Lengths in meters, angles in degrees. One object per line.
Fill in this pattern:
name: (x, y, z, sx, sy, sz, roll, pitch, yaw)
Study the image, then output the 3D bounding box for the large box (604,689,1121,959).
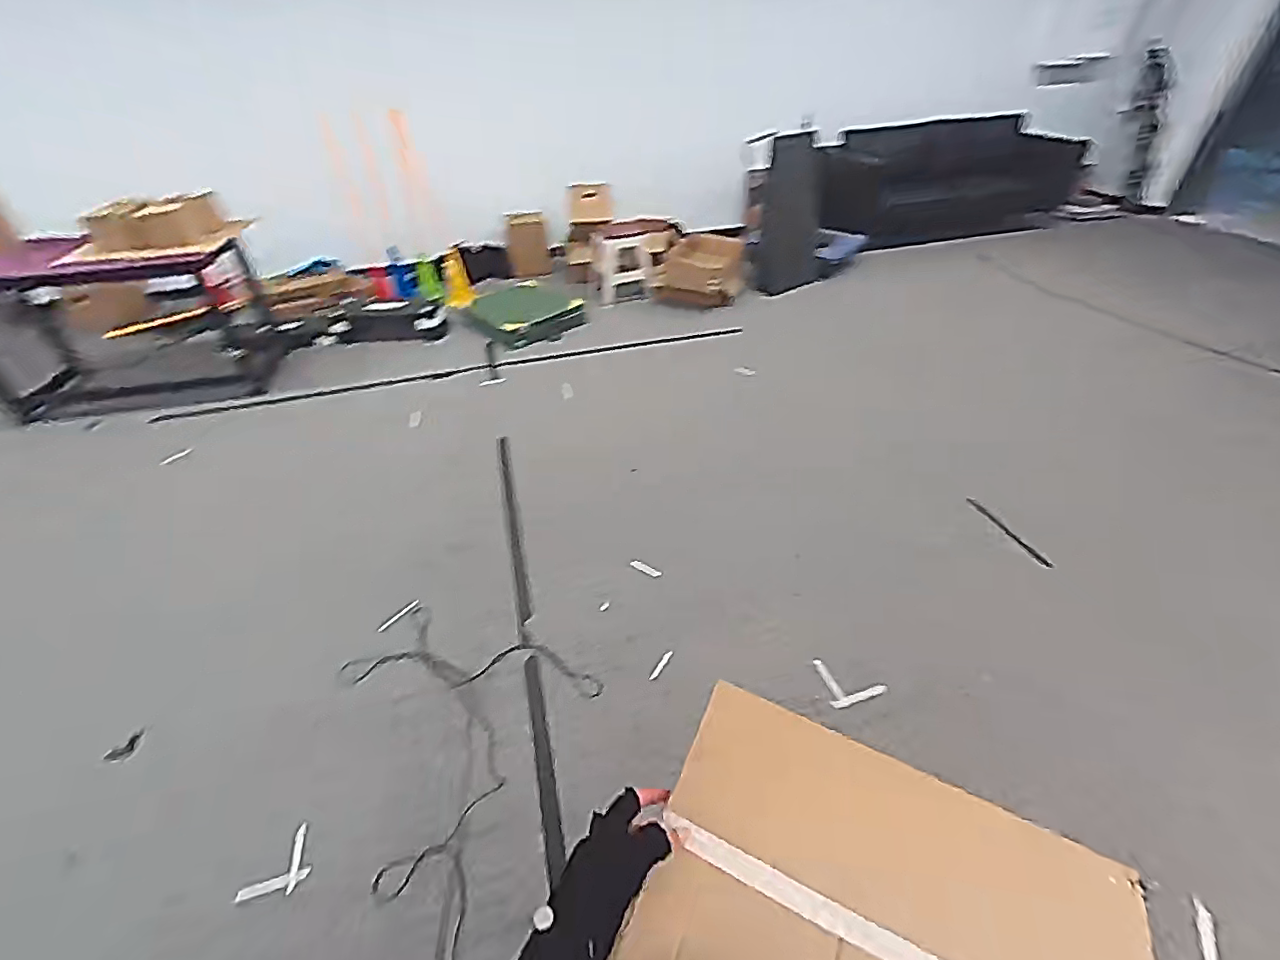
large box: (0.188, 0.496, 0.566, 0.408, 0.320, 0.320, 19, 47, 16)
